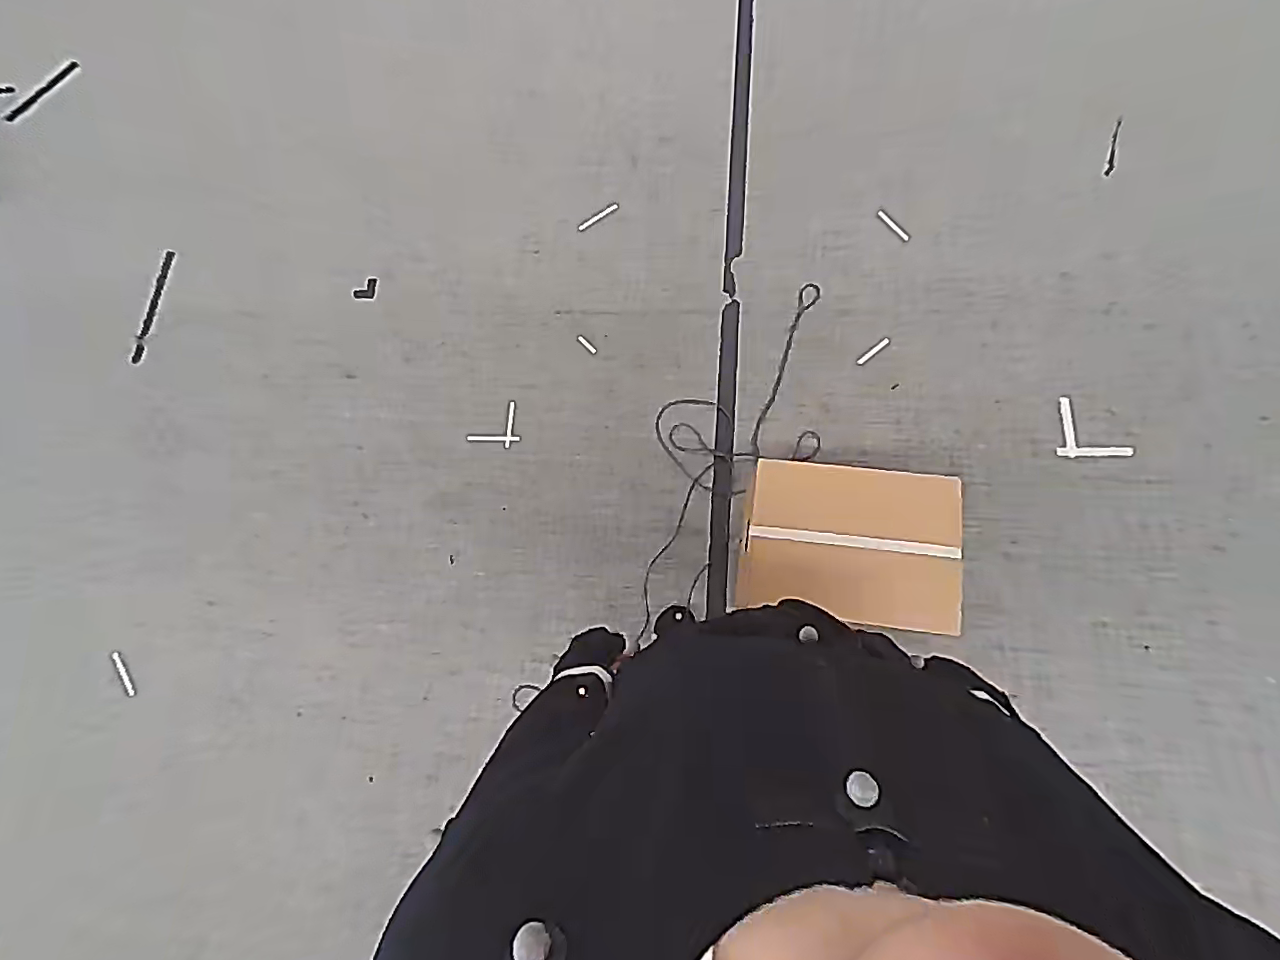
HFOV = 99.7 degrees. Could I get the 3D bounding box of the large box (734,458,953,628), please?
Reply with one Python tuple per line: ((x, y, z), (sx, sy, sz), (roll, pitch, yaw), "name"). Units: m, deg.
((0.434, 0.153, 1.235), (0.408, 0.320, 0.320), (6, 78, 7), "large box")
